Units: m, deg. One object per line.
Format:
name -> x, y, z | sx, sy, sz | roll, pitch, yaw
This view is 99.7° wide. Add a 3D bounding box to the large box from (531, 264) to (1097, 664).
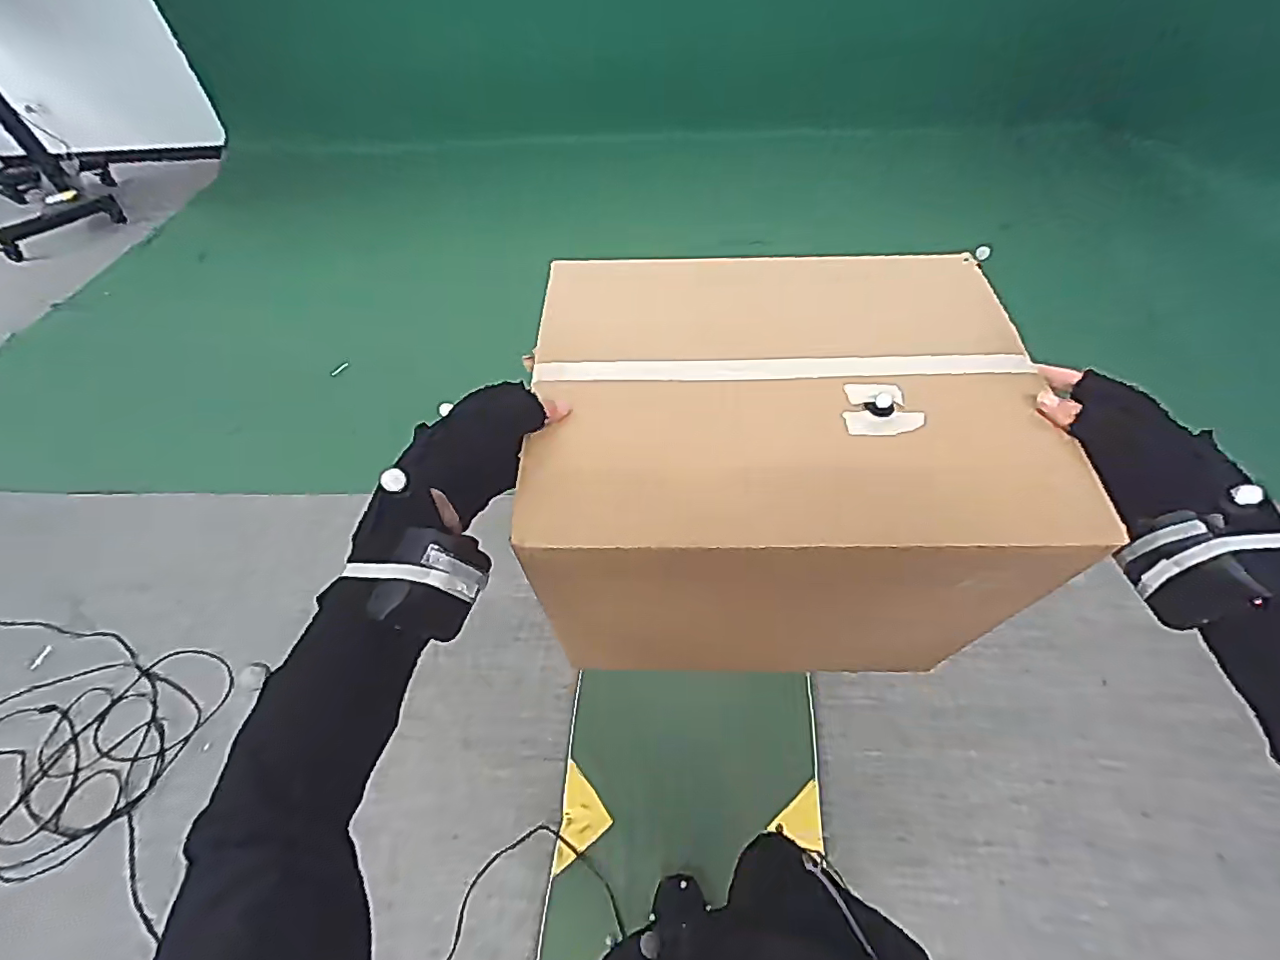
large box -> 0.119, -0.003, 0.578 | 0.408, 0.320, 0.320 | 0, 57, 0
